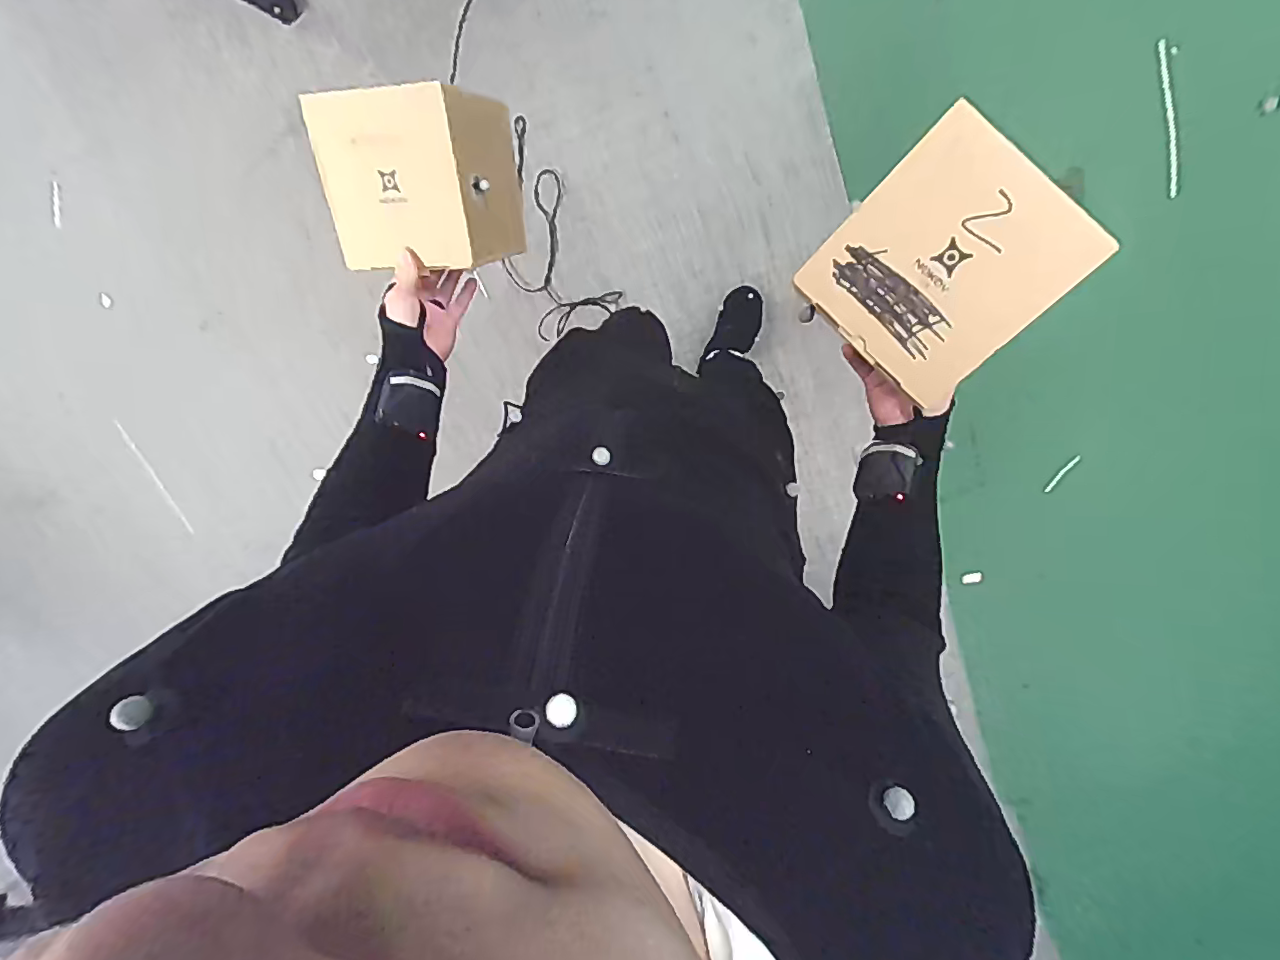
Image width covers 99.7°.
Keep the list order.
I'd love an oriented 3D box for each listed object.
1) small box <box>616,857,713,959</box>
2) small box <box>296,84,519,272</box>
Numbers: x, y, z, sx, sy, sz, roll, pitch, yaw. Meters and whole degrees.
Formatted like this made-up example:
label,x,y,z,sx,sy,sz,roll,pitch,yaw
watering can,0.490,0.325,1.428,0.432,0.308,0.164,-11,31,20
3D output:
label,x,y,z,sx,sy,sz,roll,pitch,yaw
small box,0.060,0.939,1.136,0.168,0.176,0.179,-7,107,12
small box,-0.261,-0.359,0.658,0.168,0.176,0.179,3,119,10
